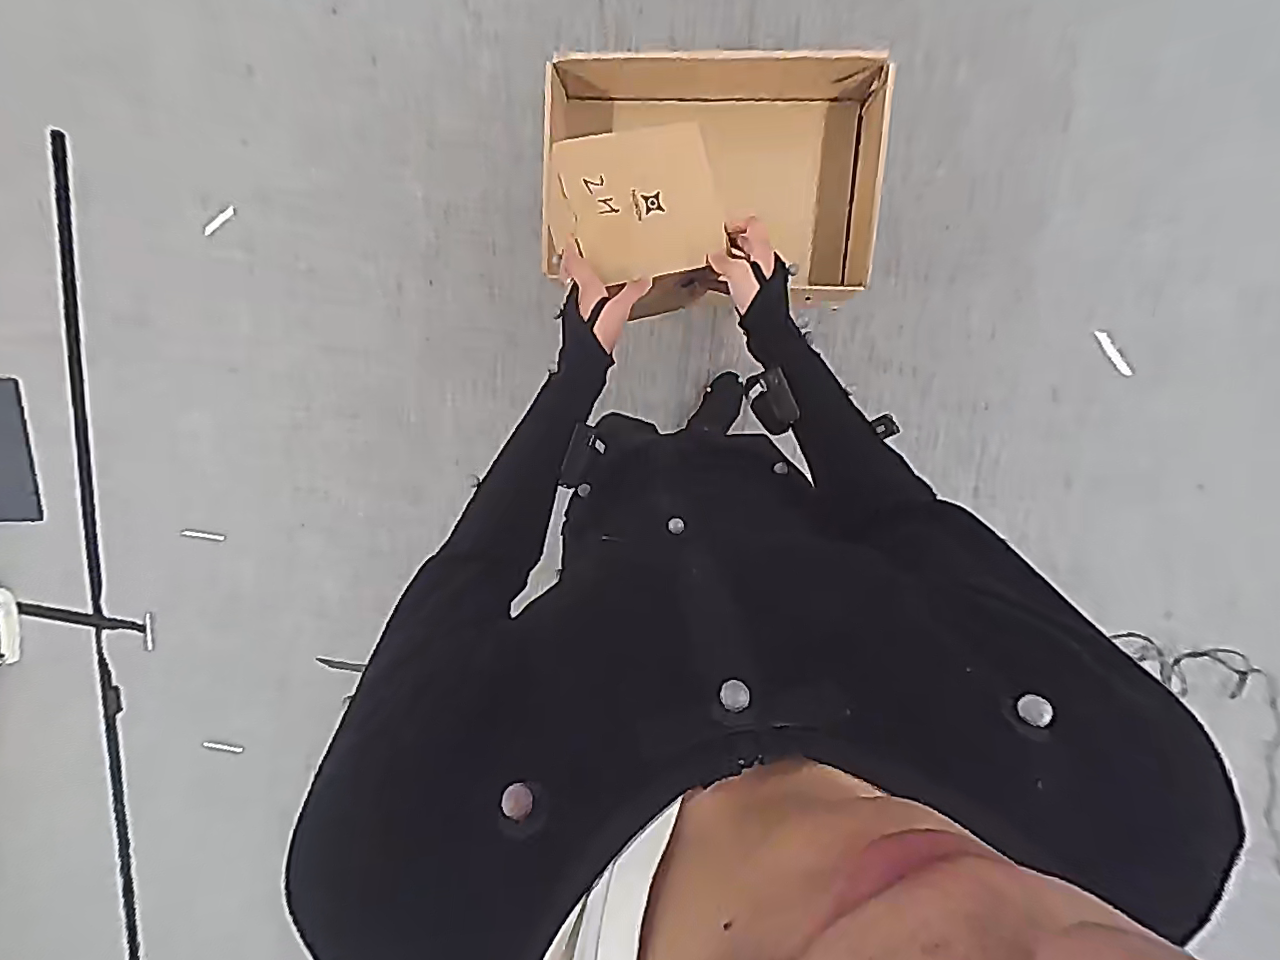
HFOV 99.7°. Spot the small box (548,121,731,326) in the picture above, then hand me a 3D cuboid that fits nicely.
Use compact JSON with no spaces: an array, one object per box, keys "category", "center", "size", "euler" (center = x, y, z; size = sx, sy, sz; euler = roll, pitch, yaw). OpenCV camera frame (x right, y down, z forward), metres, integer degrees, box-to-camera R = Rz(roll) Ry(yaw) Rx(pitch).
[{"category":"small box","center":[-0.011,-0.308,0.680],"size":[0.179,0.176,0.168],"euler":[-15,92,-10]}]
